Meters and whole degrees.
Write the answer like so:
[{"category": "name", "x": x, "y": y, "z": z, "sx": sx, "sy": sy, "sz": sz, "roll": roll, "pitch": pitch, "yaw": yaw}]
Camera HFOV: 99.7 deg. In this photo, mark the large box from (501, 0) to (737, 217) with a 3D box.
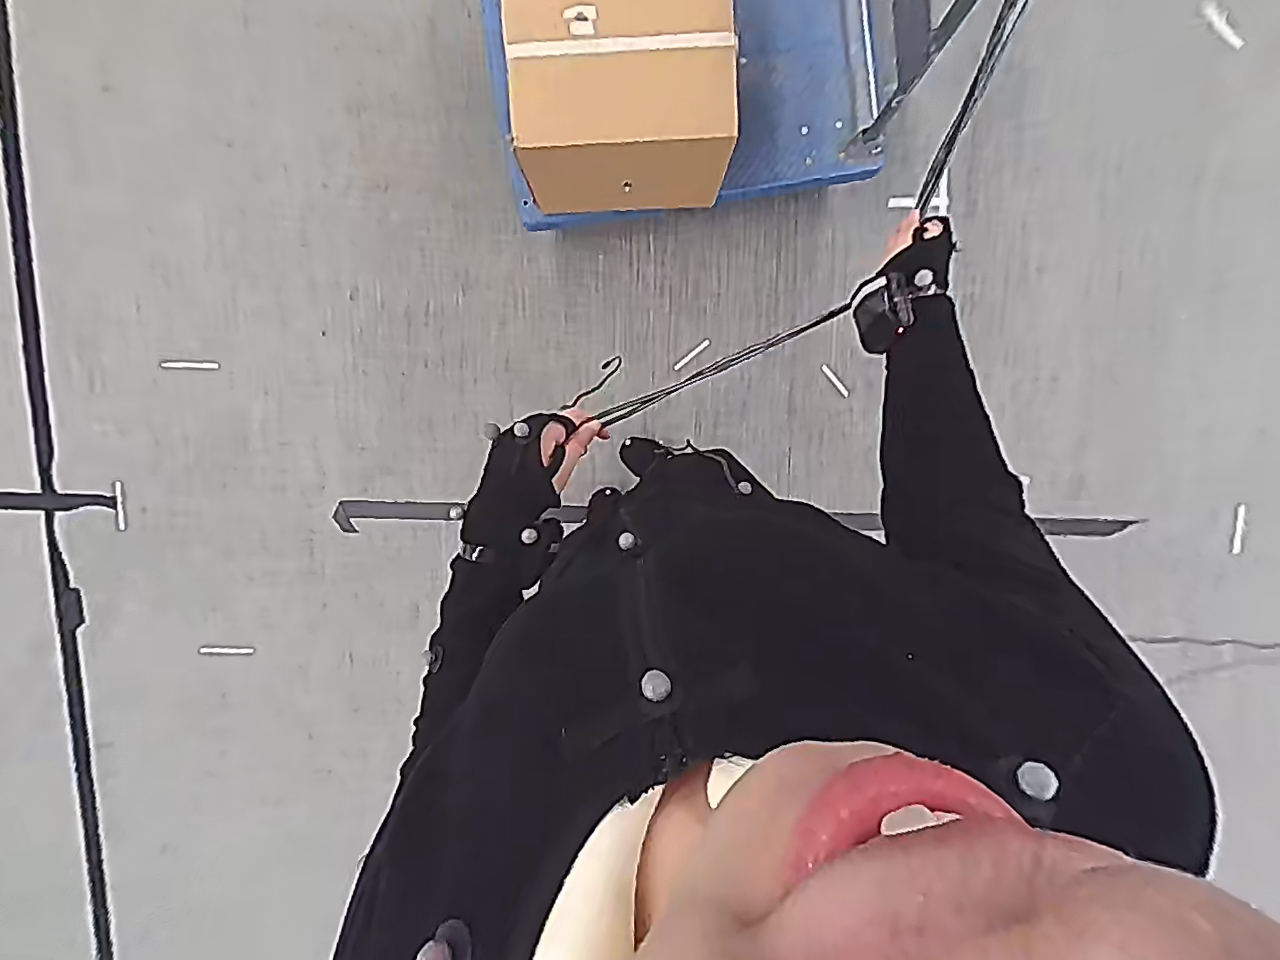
[{"category": "large box", "x": -0.034, "y": -0.756, "z": 1.091, "sx": 0.408, "sy": 0.320, "sz": 0.320, "roll": -3, "pitch": 95, "yaw": 0}]
